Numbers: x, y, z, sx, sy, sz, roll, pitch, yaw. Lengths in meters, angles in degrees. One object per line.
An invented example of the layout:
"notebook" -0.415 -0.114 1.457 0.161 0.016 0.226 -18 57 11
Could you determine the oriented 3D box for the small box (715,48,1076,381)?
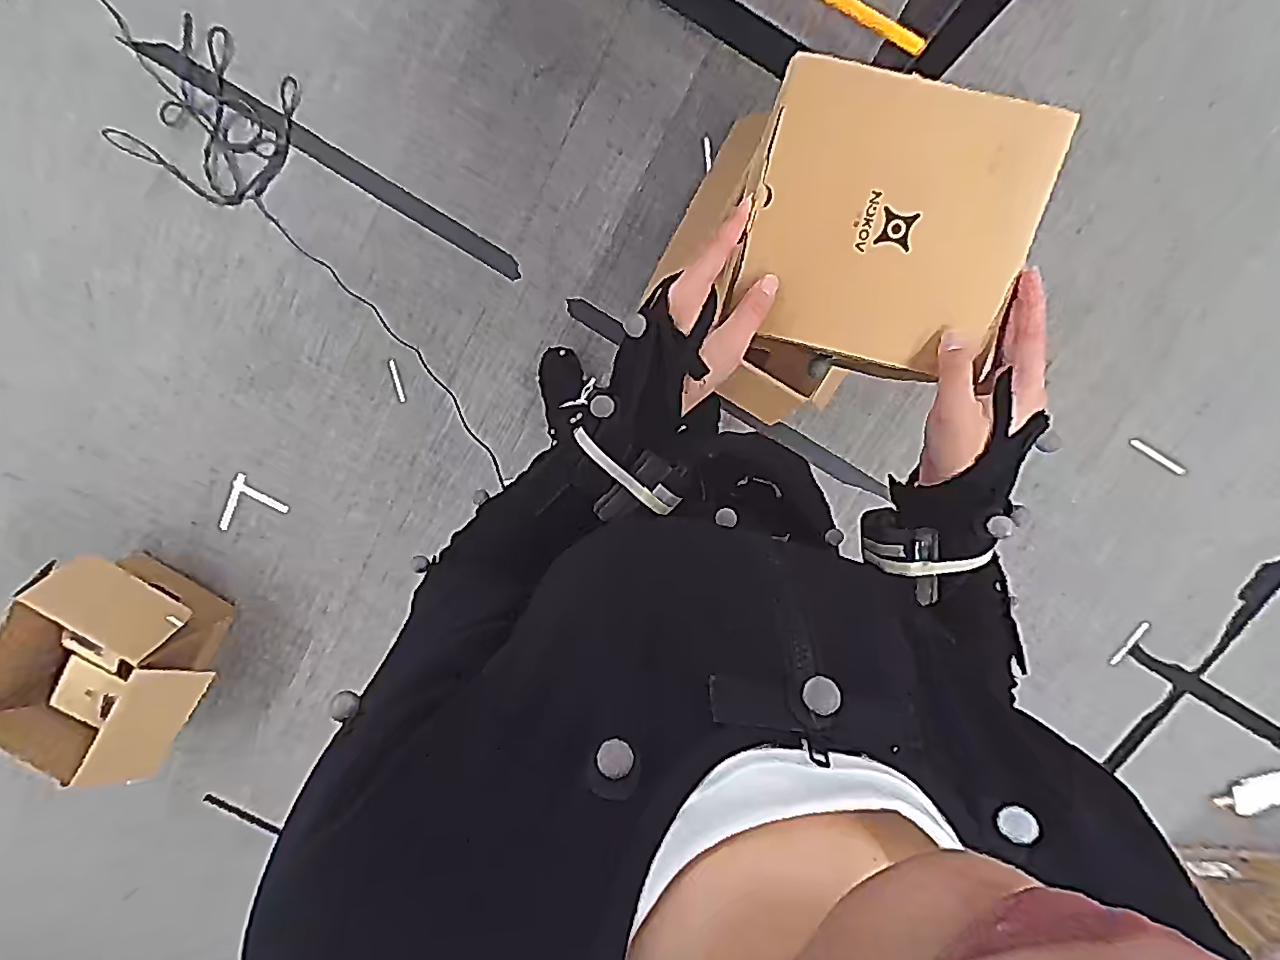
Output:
"small box" 0.164 -0.181 0.419 0.179 0.176 0.168 14 104 2
